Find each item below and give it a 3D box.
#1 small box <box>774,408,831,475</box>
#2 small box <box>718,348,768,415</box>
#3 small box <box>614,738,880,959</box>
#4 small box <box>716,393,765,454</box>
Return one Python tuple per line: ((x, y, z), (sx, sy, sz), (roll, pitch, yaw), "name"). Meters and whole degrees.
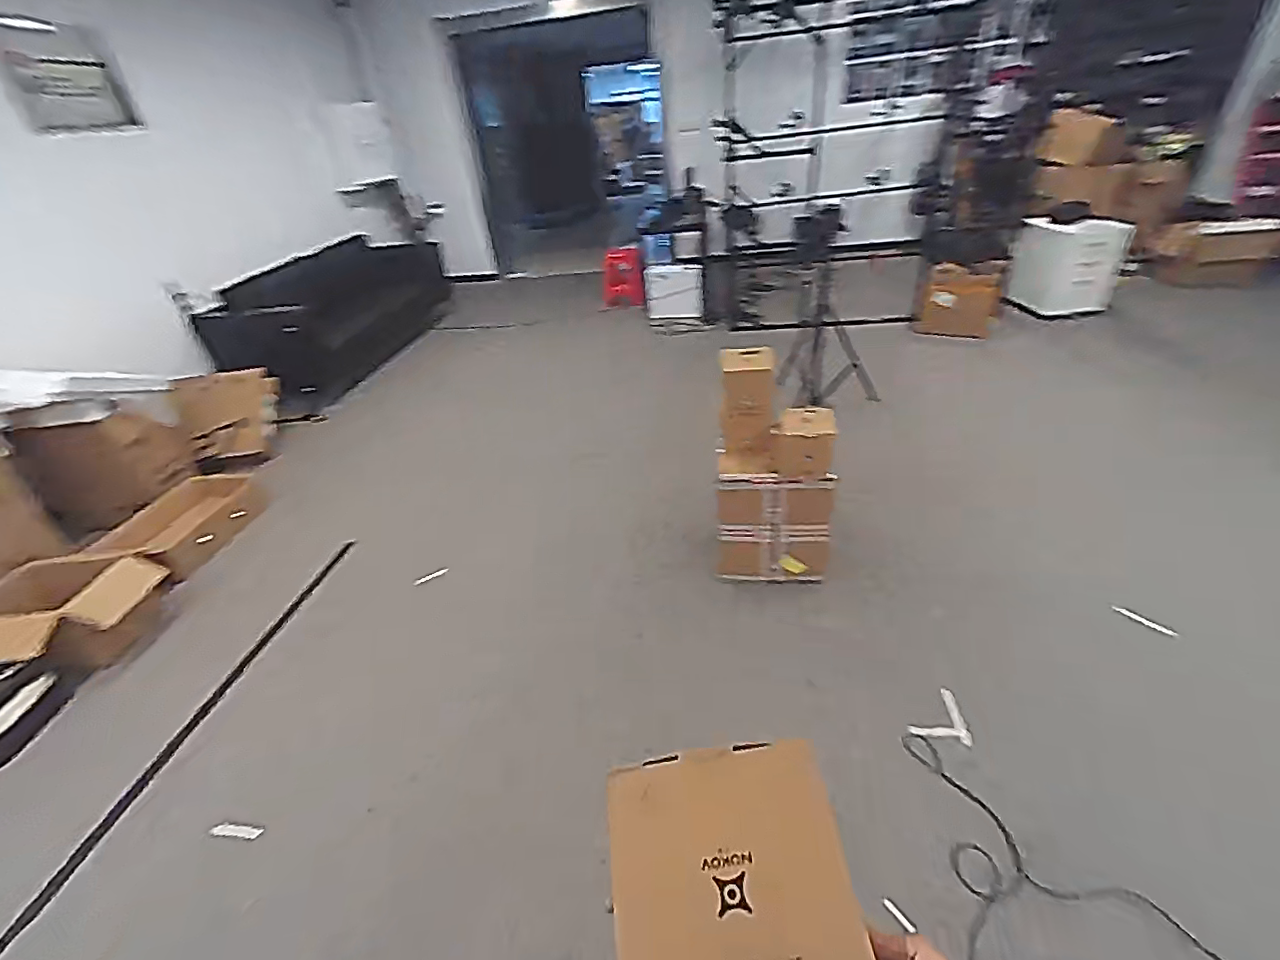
((0.544, -0.128, 1.829), (0.168, 0.176, 0.179), (0, 37, 9), "small box")
((0.358, -0.342, 1.882), (0.168, 0.176, 0.179), (-2, 37, 11), "small box")
((0.076, 0.330, 0.430), (0.168, 0.176, 0.179), (-10, 49, 2), "small box")
((0.365, -0.211, 1.983), (0.168, 0.176, 0.179), (-4, 36, 8), "small box")
